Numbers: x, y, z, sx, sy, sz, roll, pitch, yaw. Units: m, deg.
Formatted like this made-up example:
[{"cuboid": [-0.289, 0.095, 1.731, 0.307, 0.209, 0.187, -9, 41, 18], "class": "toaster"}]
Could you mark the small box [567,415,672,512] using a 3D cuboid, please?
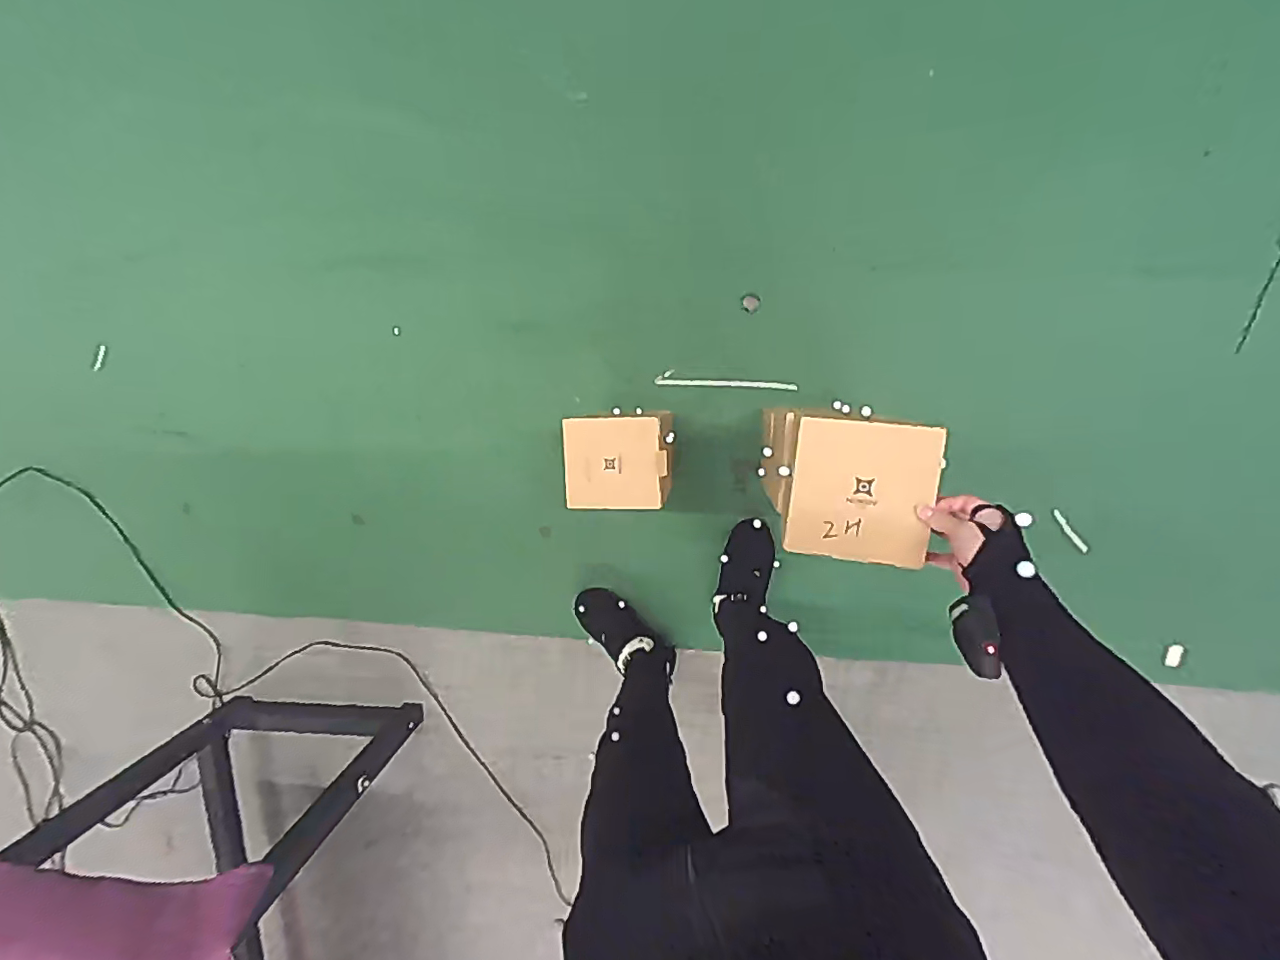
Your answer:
[{"cuboid": [-0.031, -0.038, 1.032, 0.179, 0.176, 0.168, 0, 99, 10], "class": "small box"}]

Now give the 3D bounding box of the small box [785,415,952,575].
[{"cuboid": [0.290, 0.007, 0.727, 0.168, 0.176, 0.179, 7, 101, 13], "class": "small box"}]

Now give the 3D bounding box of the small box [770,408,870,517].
[{"cuboid": [0.333, -0.032, 0.983, 0.168, 0.176, 0.179, 4, 102, 6], "class": "small box"}]
